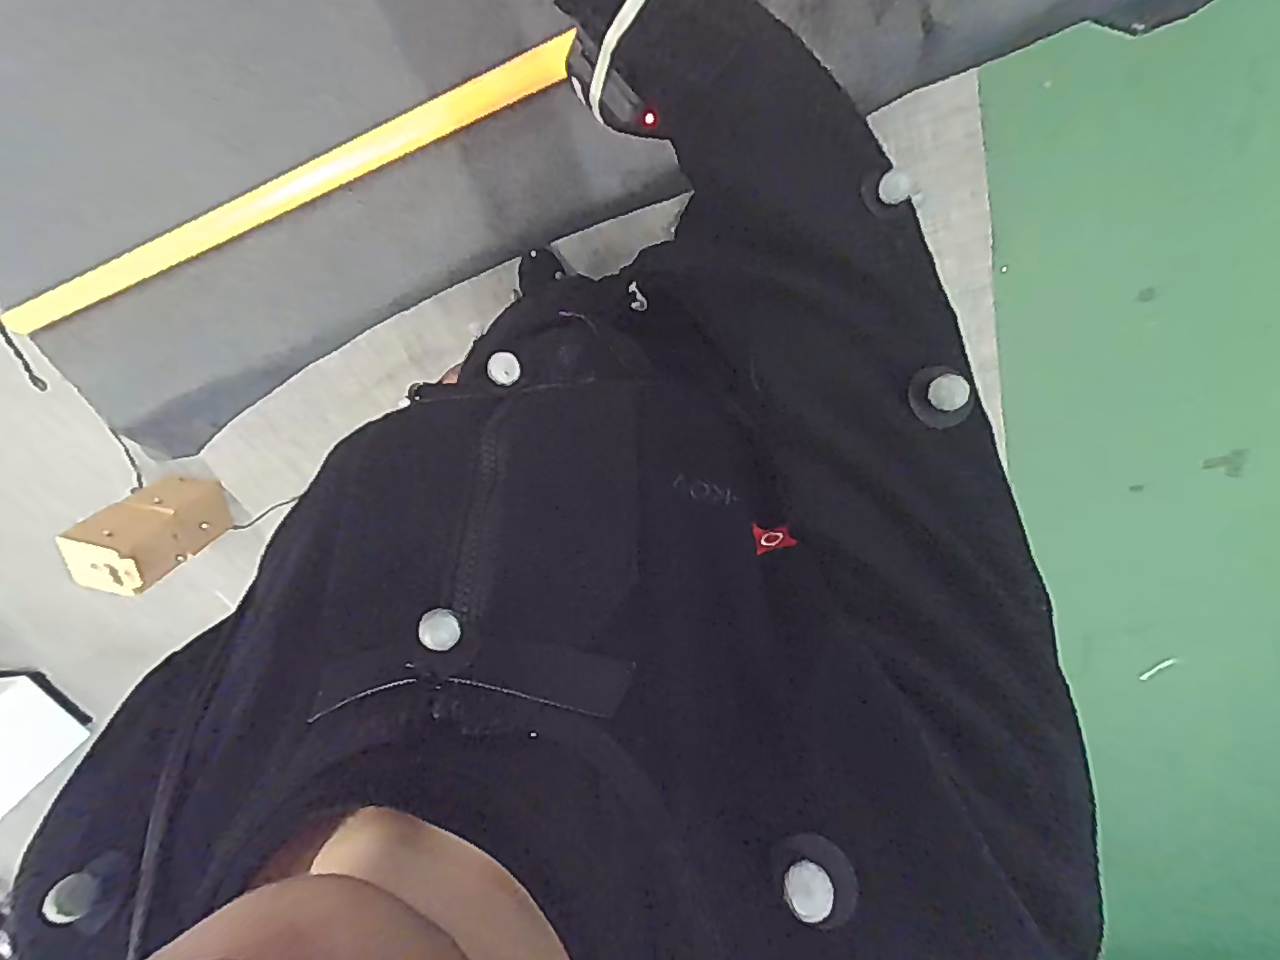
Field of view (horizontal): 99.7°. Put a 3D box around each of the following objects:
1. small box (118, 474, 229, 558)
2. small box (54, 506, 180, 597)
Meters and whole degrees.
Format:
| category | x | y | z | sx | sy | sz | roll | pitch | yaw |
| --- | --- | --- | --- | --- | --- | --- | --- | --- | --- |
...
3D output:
| category | x | y | z | sx | sy | sz | roll | pitch | yaw |
| --- | --- | --- | --- | --- | --- | --- | --- | --- | --- |
| small box | -1.391 | 0.107 | 1.629 | 0.168 | 0.176 | 0.179 | 8 | 121 | 3 |
| small box | -1.420 | 0.191 | 1.489 | 0.179 | 0.176 | 0.168 | 13 | 120 | 1 |
